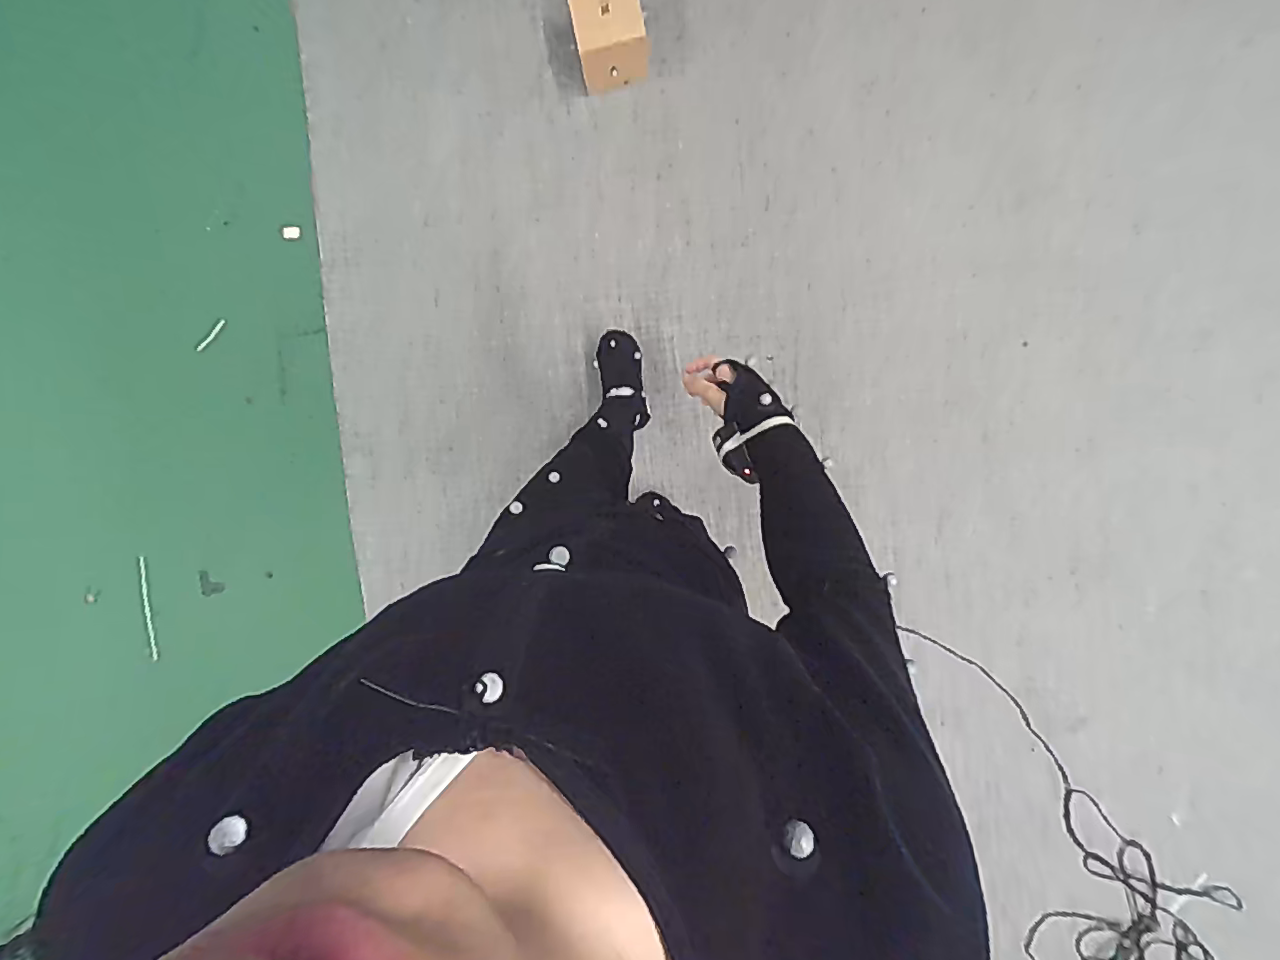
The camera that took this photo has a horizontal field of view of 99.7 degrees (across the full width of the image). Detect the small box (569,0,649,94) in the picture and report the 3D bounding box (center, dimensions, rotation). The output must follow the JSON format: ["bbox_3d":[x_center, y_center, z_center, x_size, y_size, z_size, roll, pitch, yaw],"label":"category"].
[{"bbox_3d":[-0.074,-1.104,1.348,0.168,0.176,0.179,-11,93,4],"label":"small box"}]
